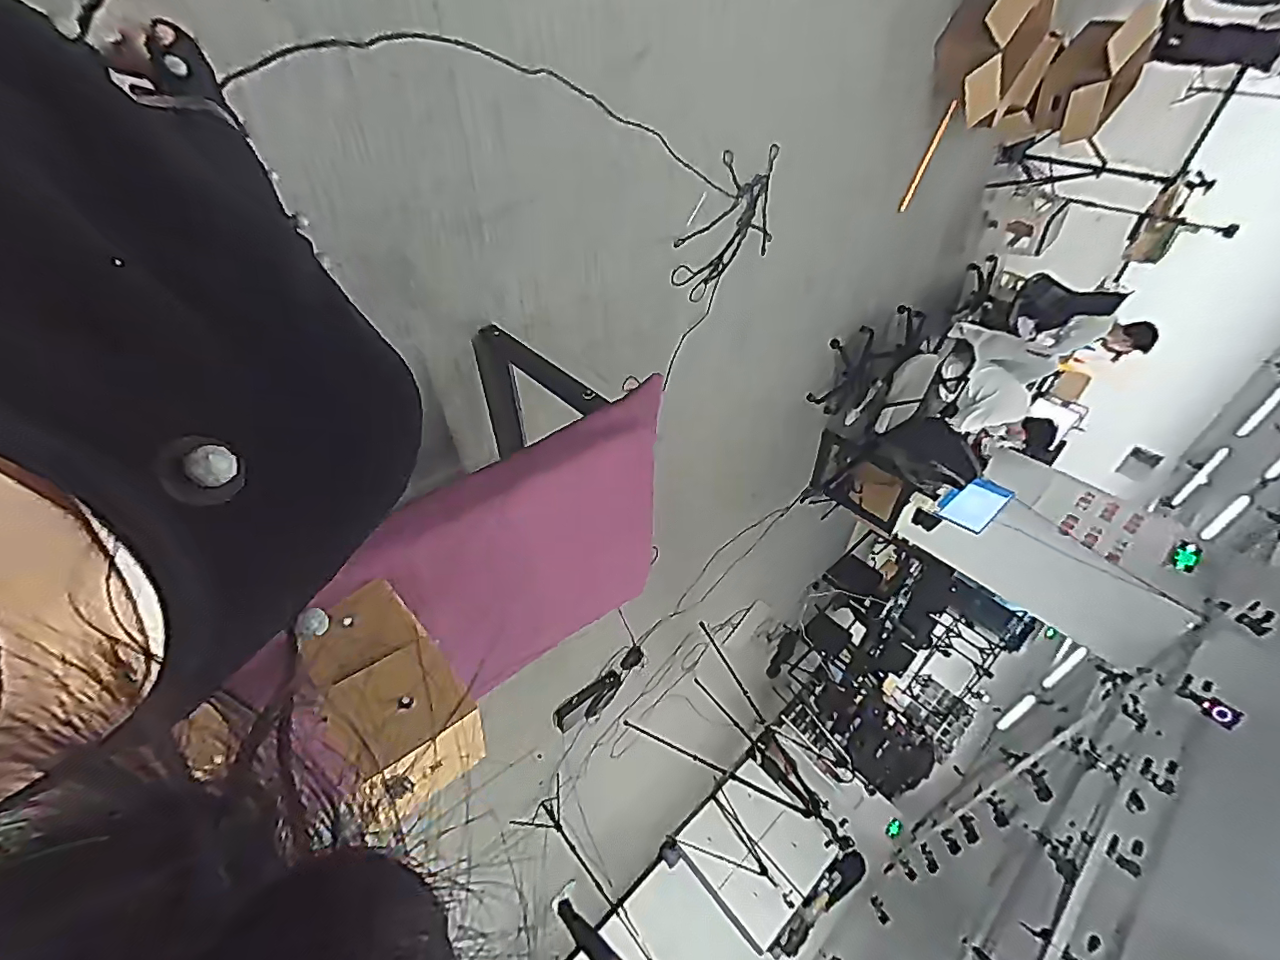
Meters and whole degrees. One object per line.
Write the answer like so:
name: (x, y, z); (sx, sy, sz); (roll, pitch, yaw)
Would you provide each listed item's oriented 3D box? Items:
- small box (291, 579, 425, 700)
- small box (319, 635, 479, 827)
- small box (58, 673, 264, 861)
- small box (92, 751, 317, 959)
small box: (-0.475, 0.309, 0.961); (0.168, 0.176, 0.179); (-36, 144, -25)
small box: (-0.377, 0.385, 0.849); (0.179, 0.176, 0.168); (-26, 140, -36)
small box: (-0.695, 0.428, 0.799); (0.179, 0.176, 0.168); (-34, 143, -26)
small box: (-0.577, 0.511, 0.722); (0.179, 0.176, 0.168); (-31, 142, -32)
